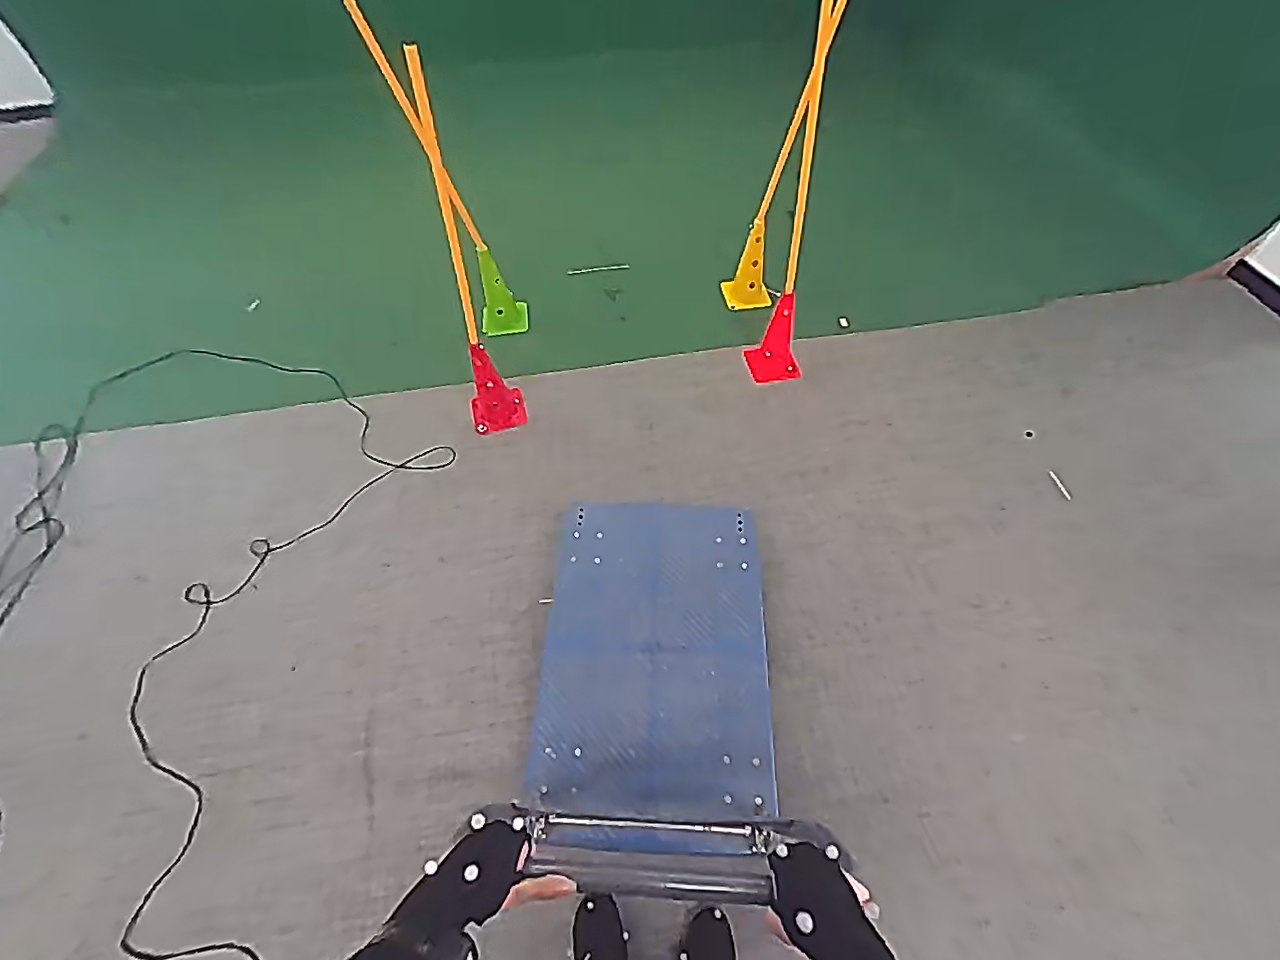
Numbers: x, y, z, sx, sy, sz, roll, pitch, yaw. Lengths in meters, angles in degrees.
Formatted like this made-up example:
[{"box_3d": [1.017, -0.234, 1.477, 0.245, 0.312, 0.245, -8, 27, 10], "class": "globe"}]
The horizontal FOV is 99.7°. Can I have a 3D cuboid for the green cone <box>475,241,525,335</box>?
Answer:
[{"box_3d": [-0.618, -0.820, 2.265, 0.200, 0.368, 0.202, -9, 55, -3], "class": "green cone"}]

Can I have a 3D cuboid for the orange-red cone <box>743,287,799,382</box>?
[{"box_3d": [0.531, -0.576, 2.073, 0.198, 0.360, 0.199, -8, 54, -5], "class": "orange-red cone"}]
